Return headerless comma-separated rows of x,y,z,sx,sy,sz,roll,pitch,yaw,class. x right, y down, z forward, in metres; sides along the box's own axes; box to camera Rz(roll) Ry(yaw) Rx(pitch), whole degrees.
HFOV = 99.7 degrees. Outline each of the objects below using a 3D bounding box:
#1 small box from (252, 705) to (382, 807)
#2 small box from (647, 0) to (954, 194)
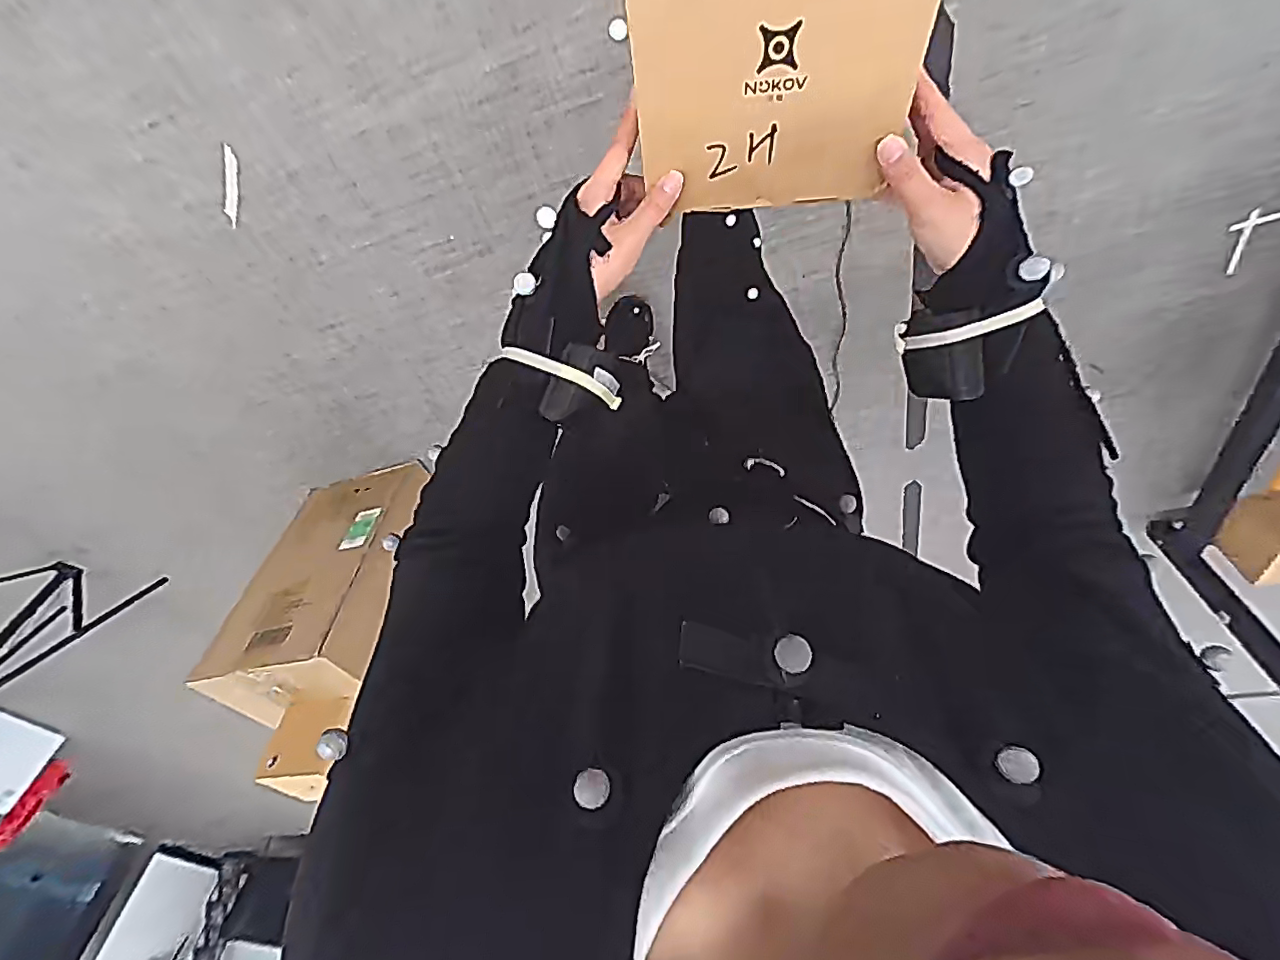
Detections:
-0.726,0.633,1.246,0.179,0.176,0.168,-12,133,13,small box
0.089,-0.316,0.342,0.168,0.176,0.179,0,149,7,small box
